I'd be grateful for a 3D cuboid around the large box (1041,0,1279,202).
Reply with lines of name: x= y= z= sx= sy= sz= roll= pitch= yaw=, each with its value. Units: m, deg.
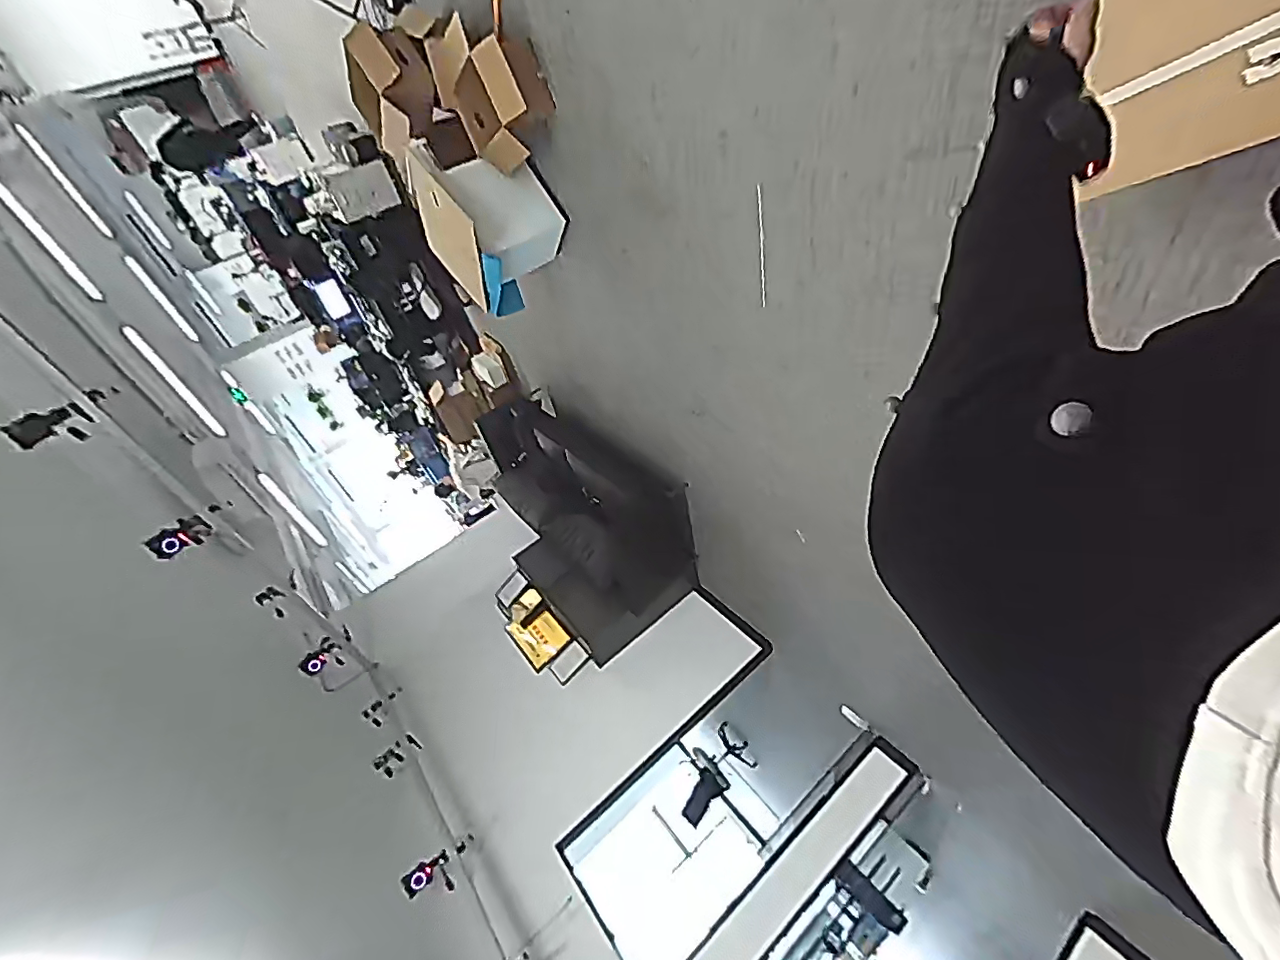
large box: x=0.972 y=-0.725 z=0.870 sx=0.408 sy=0.320 sz=0.320 roll=6 pitch=128 yaw=62
